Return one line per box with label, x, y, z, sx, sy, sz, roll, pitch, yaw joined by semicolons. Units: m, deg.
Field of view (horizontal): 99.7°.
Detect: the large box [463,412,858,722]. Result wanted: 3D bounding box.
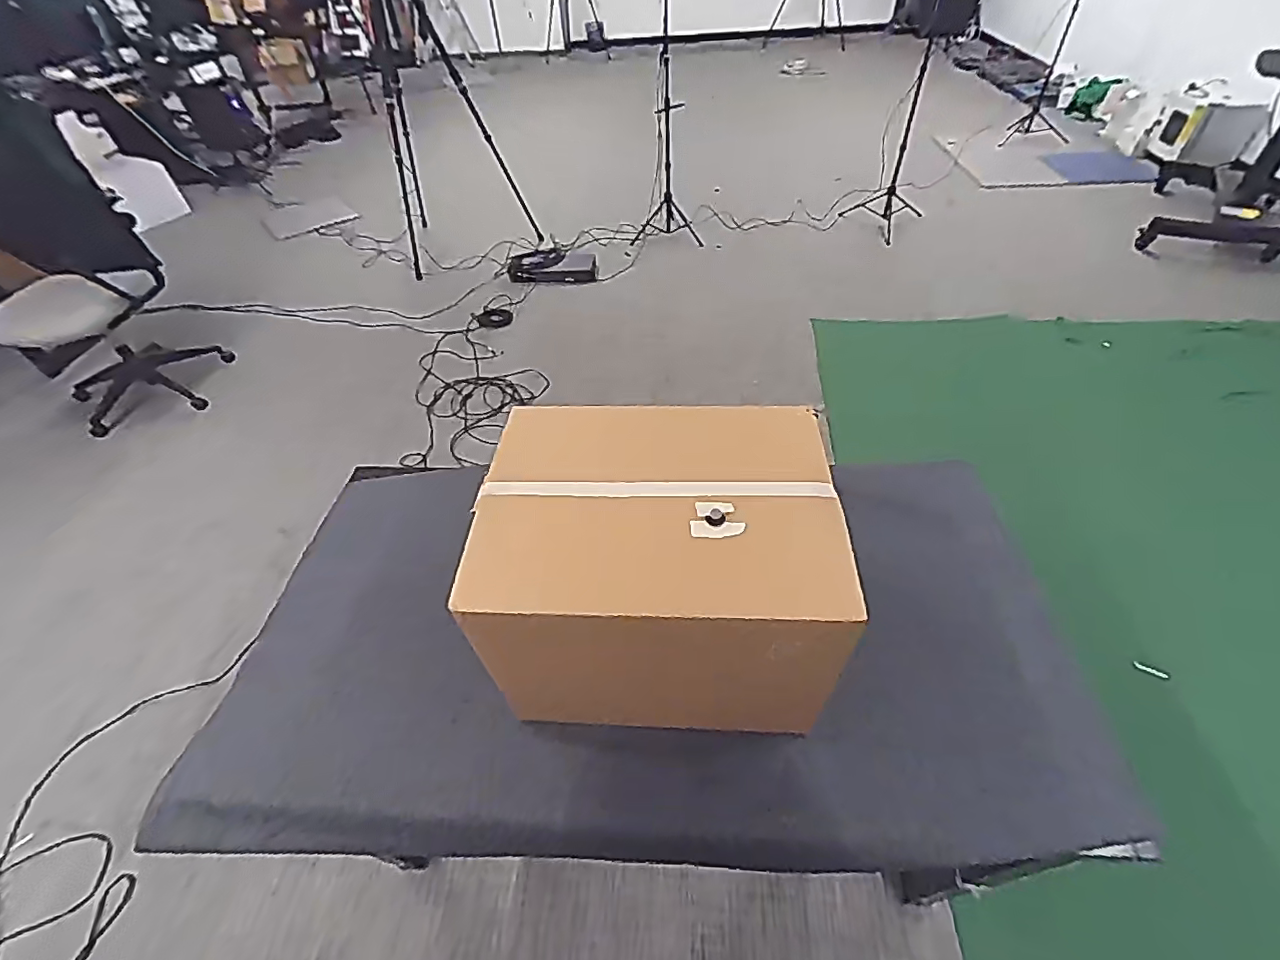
large box;0.026;0.122;0.744;0.408;0.320;0.320;1;48;4
